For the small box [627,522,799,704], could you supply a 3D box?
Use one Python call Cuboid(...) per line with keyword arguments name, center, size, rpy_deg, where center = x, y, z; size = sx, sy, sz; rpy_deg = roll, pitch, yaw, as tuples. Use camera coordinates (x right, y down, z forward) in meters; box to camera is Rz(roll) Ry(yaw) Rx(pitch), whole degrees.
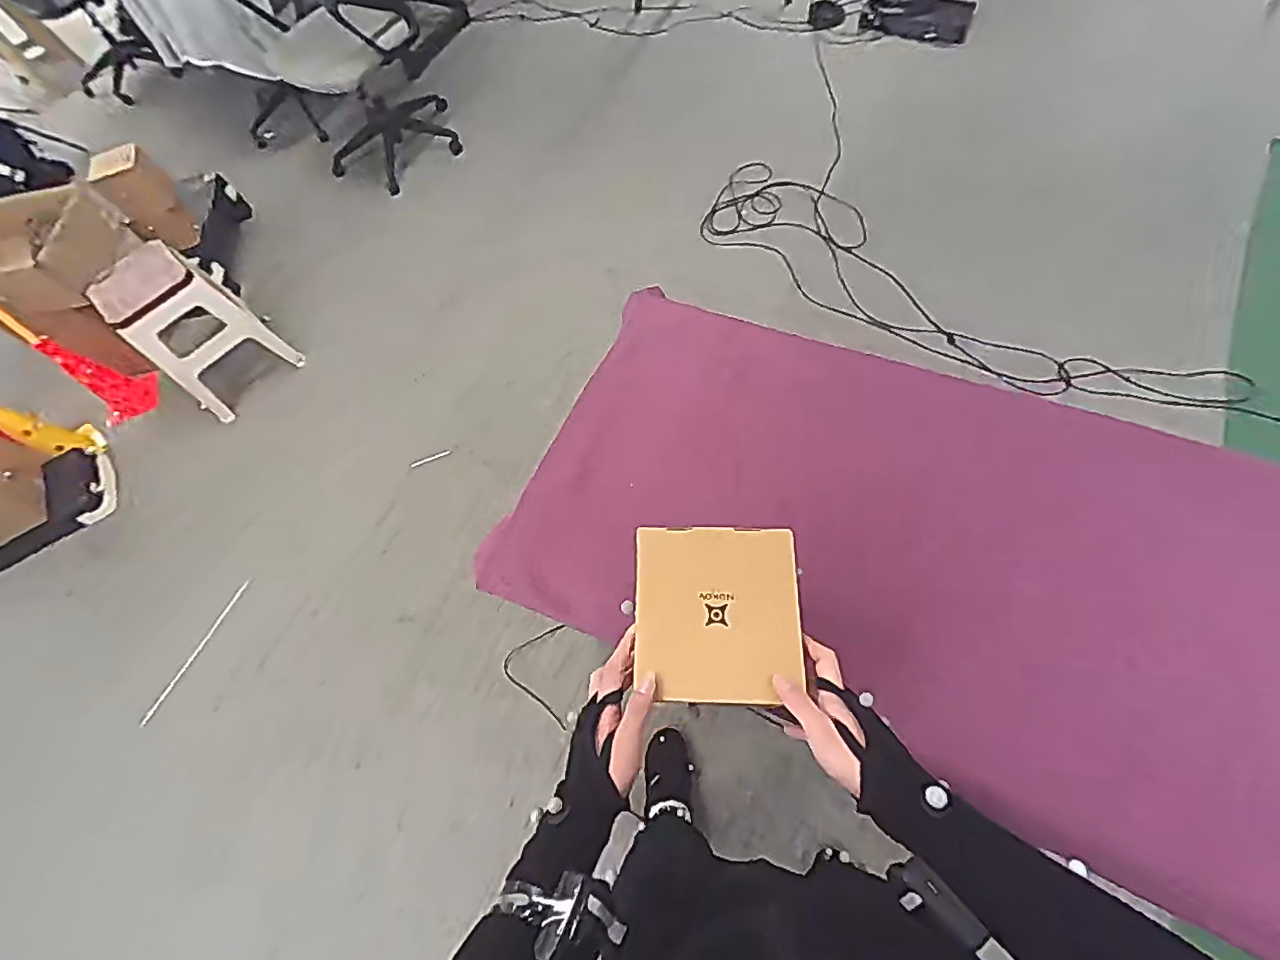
Cuboid(name="small box", center=(0.078, 0.158, 0.616), size=(0.168, 0.176, 0.179), rpy_deg=(1, 66, 4))
